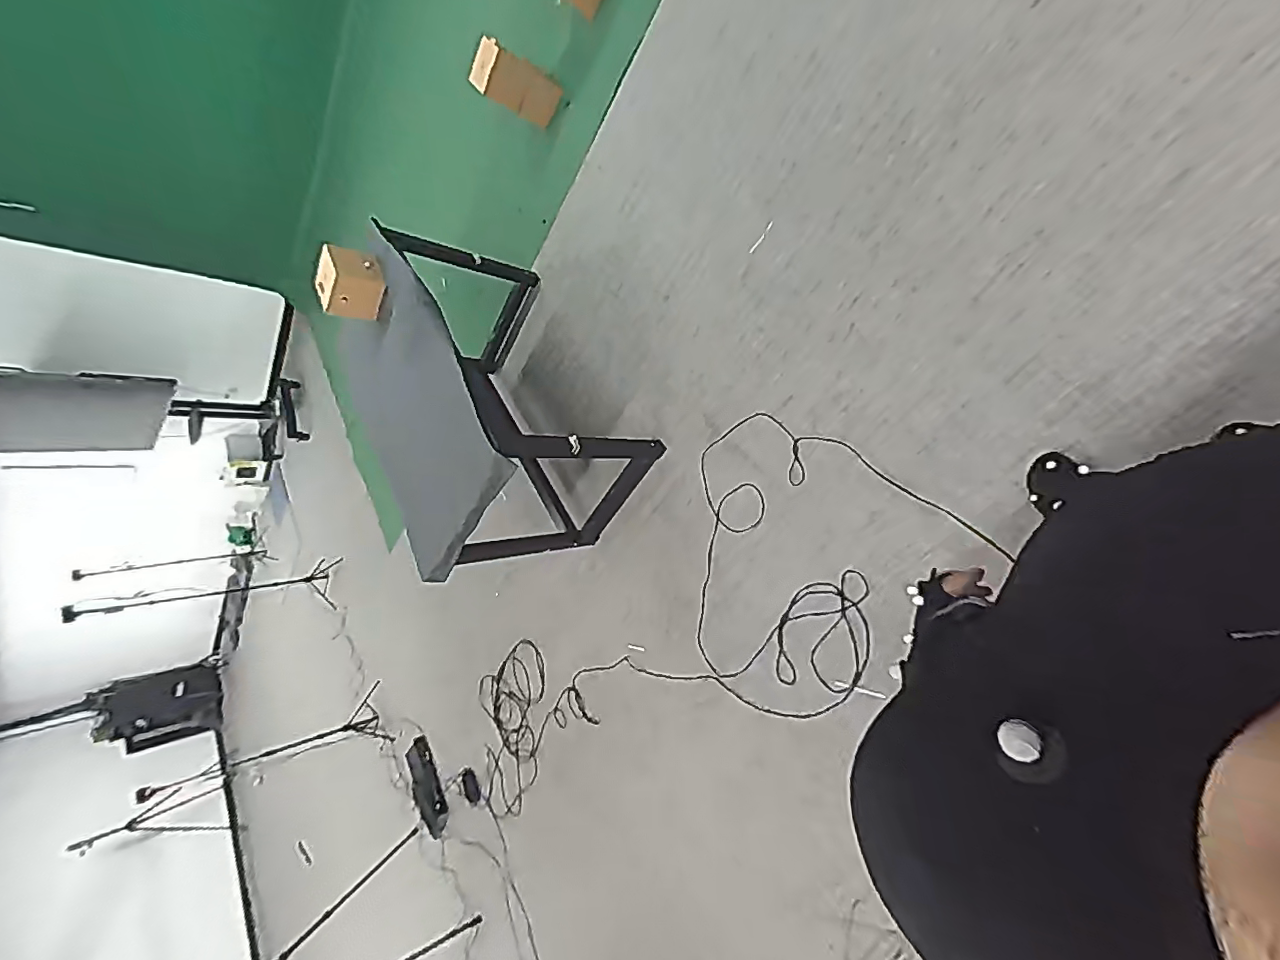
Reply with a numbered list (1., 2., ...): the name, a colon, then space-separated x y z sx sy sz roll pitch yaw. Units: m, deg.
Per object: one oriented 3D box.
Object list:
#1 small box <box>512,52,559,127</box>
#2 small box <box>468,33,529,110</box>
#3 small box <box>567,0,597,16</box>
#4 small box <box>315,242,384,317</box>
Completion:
1. small box: -0.478 -1.708 2.371 0.179 0.176 0.168 -46 62 35
2. small box: -0.584 -1.693 2.249 0.168 0.176 0.179 54 126 28
3. small box: -0.250 -2.013 2.146 0.179 0.176 0.168 -48 61 34
4. small box: -1.034 -0.706 1.927 0.179 0.176 0.168 -48 61 36
